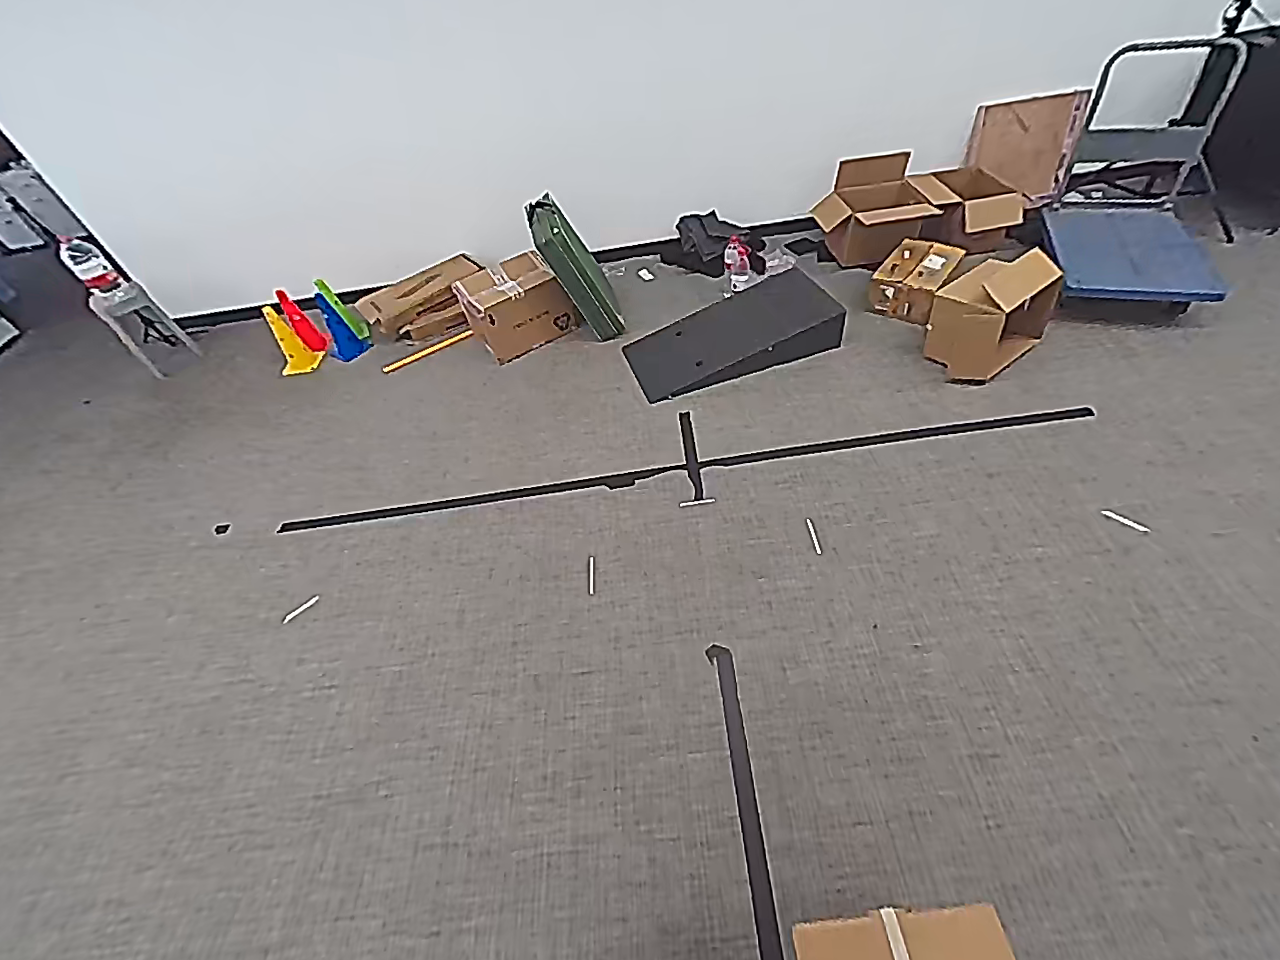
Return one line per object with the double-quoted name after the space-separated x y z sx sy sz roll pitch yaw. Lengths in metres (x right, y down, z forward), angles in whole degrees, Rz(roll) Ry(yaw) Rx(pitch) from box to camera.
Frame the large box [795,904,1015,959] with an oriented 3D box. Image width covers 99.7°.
0.447 0.929 0.832 0.320 0.320 0.408 -13 48 8 "large box"
